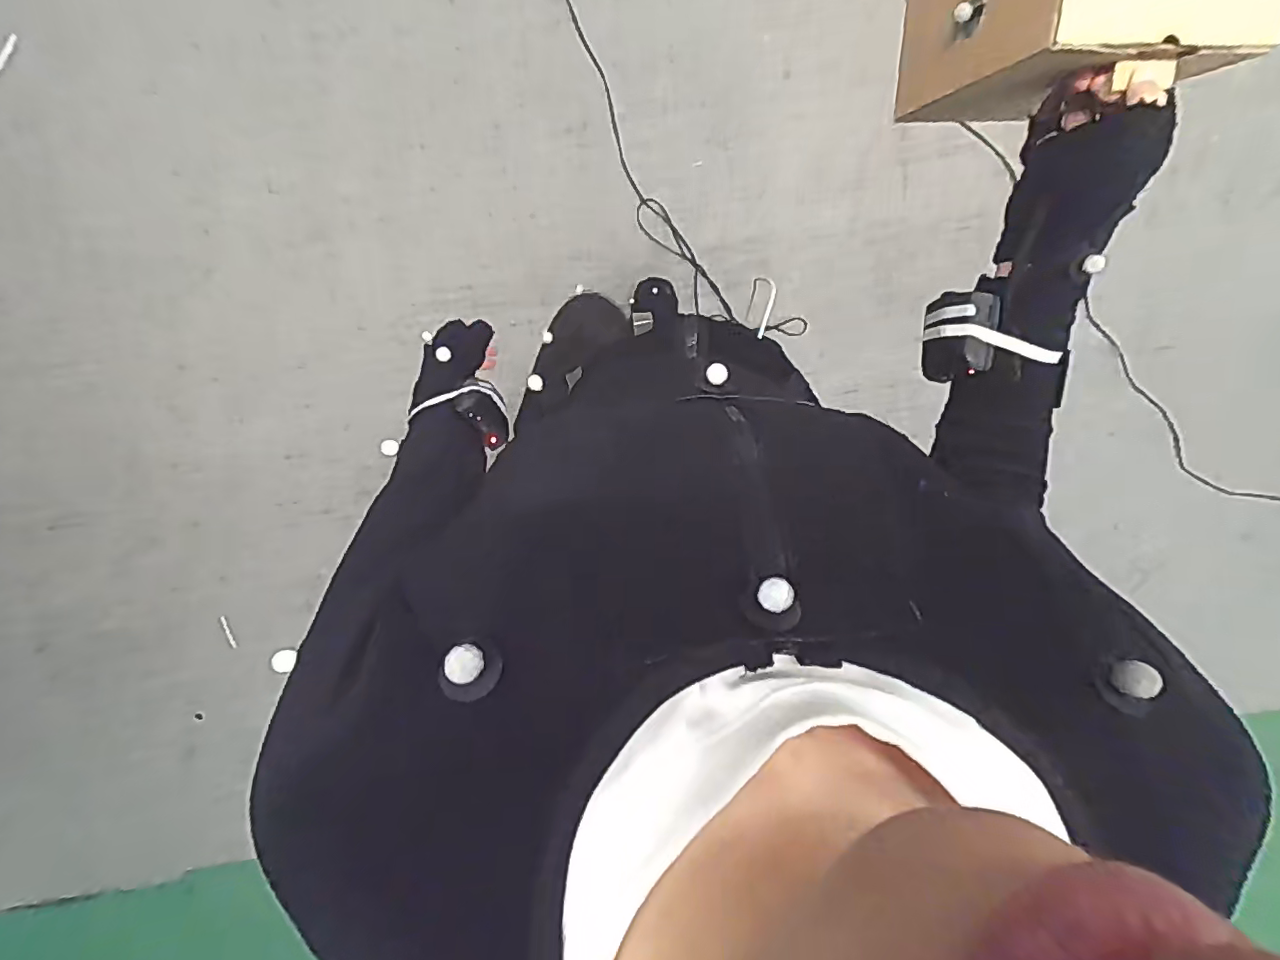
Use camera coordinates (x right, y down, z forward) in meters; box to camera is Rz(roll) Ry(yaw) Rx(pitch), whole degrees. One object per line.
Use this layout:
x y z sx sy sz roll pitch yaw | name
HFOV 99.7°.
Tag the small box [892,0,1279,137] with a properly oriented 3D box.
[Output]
0.309 -0.366 0.392 0.168 0.176 0.179 -4 110 -7 | small box
